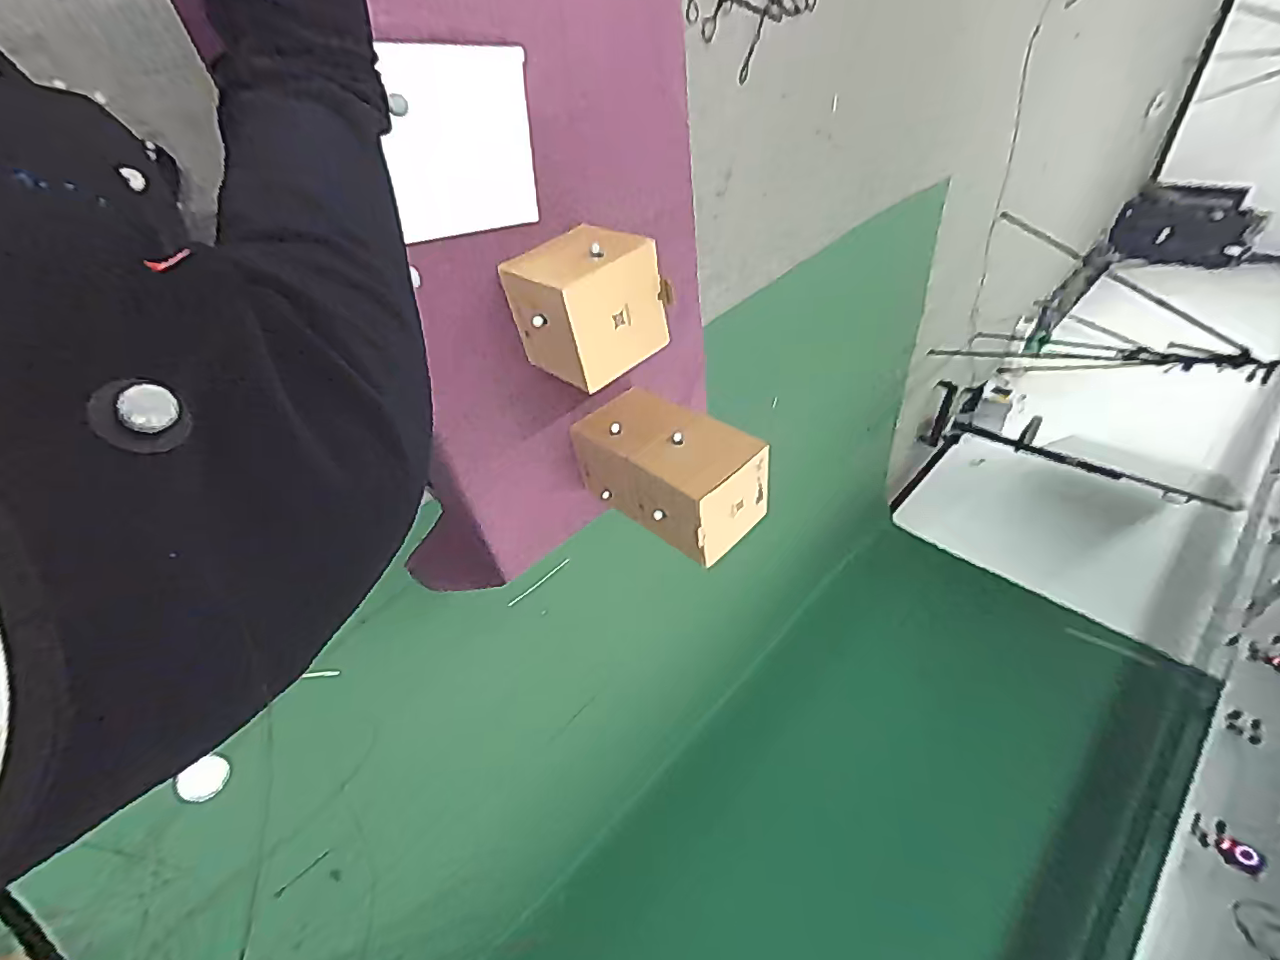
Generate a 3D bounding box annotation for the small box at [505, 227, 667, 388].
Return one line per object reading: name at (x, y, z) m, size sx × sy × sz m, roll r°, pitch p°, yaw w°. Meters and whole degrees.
small box at (-0.085, -0.272, 0.833) m, size 0.179 × 0.176 × 0.168 m, roll -39°, pitch 138°, yaw -26°

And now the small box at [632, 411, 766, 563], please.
small box at (0.101, 0.006, 0.957) m, size 0.179 × 0.176 × 0.168 m, roll -35°, pitch 138°, yaw -27°

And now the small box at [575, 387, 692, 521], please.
small box at (-0.010, -0.057, 1.060) m, size 0.179 × 0.176 × 0.168 m, roll -36°, pitch 138°, yaw -28°
